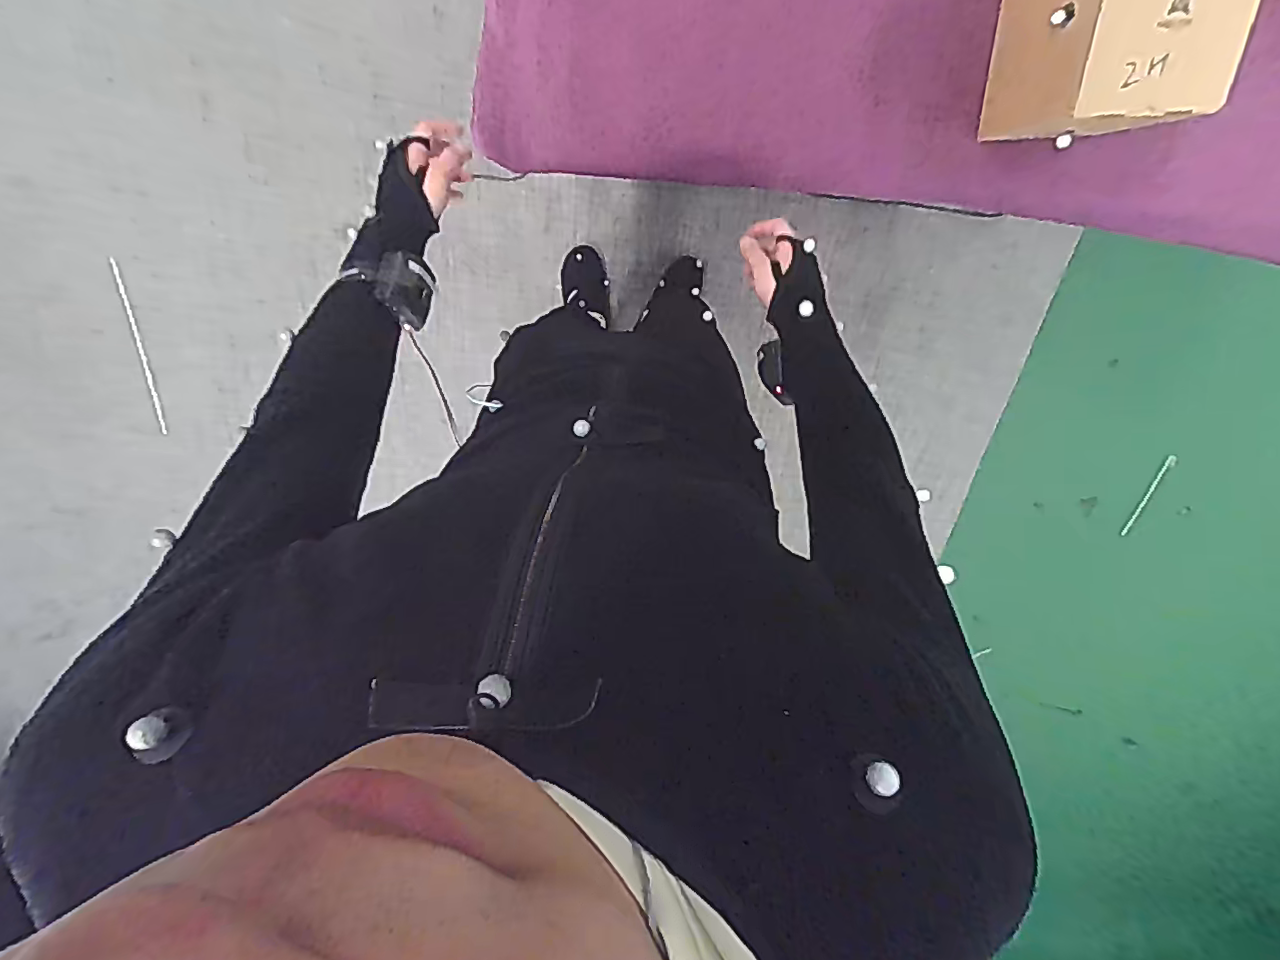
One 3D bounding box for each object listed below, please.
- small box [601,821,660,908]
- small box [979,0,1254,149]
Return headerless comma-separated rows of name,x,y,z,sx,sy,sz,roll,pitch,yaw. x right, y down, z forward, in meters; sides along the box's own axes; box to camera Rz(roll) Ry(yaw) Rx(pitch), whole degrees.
small box,-0.033,1.269,1.784,0.168,0.176,0.179,7,114,-6
small box,0.525,-0.493,0.615,0.168,0.176,0.179,-3,115,-1
